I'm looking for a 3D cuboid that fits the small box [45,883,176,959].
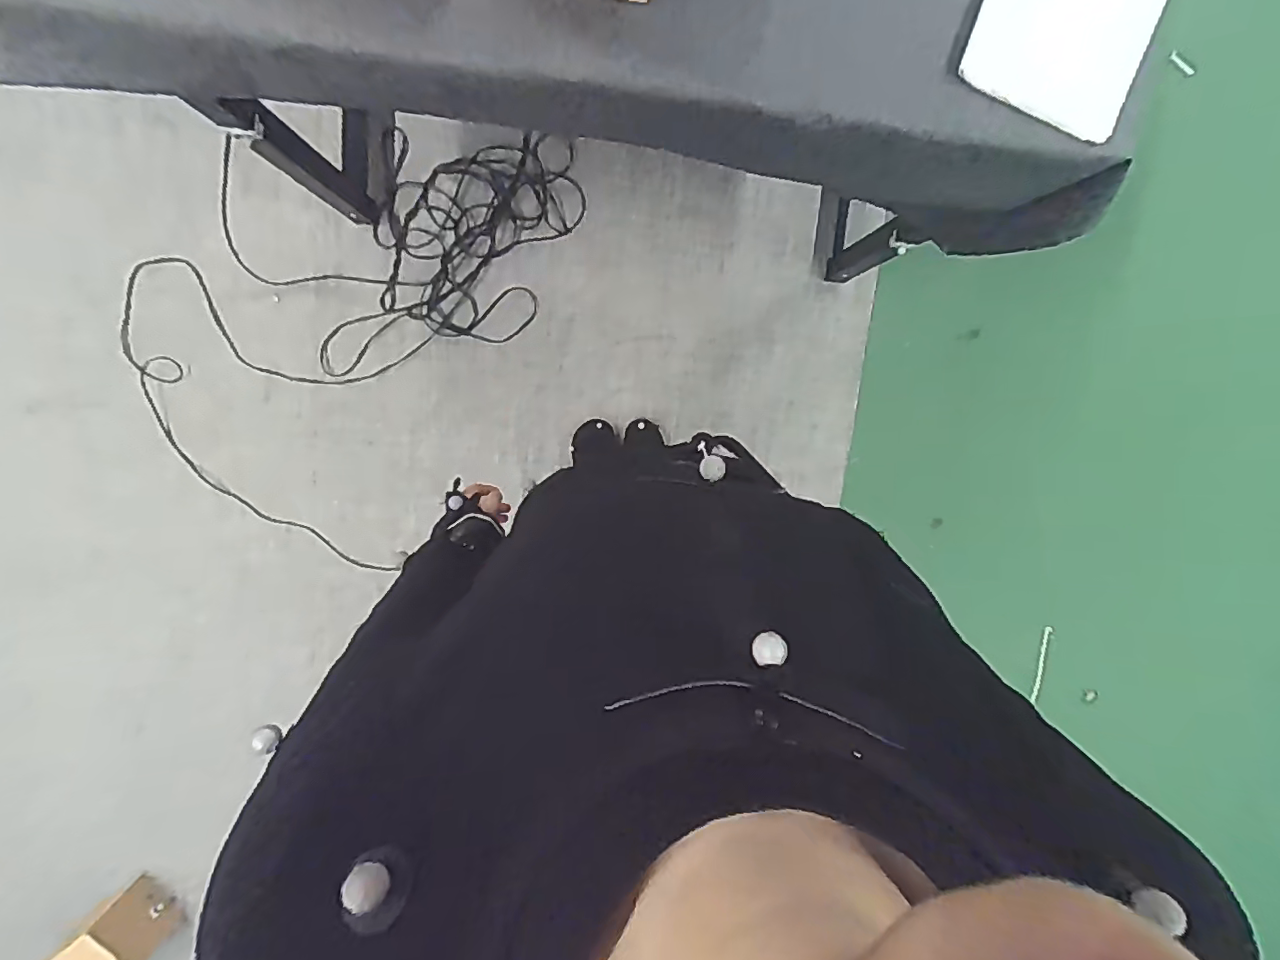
[{"bbox_3d":[-1.341,1.180,1.358,0.179,0.176,0.168,-38,100,1],"label":"small box"}]
